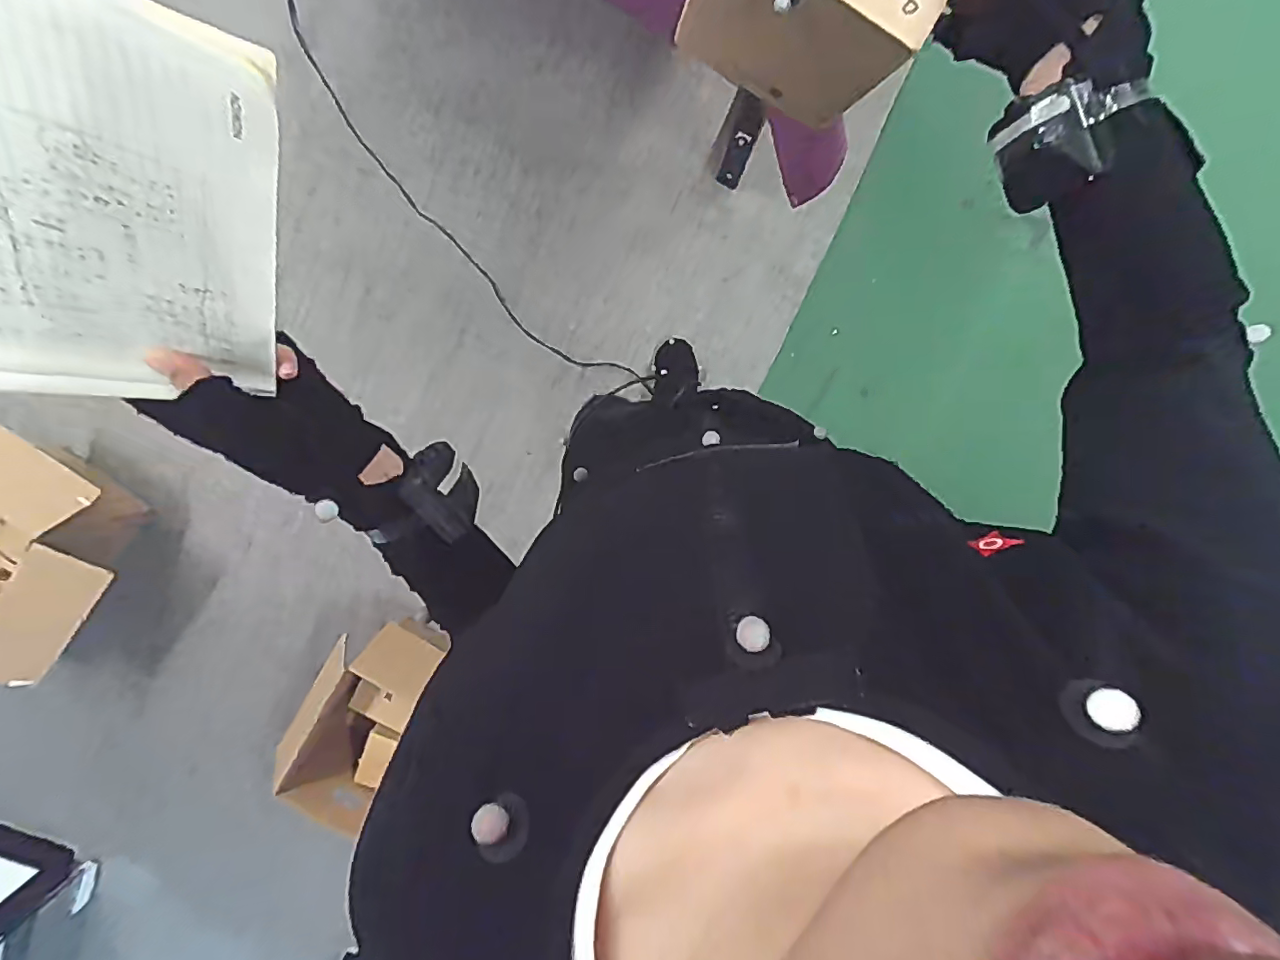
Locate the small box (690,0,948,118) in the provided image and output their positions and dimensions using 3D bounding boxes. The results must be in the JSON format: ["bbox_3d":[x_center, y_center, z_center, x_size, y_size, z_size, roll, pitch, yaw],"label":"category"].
[{"bbox_3d":[0.154,-0.432,0.417,0.168,0.176,0.179,23,103,-12],"label":"small box"}]
